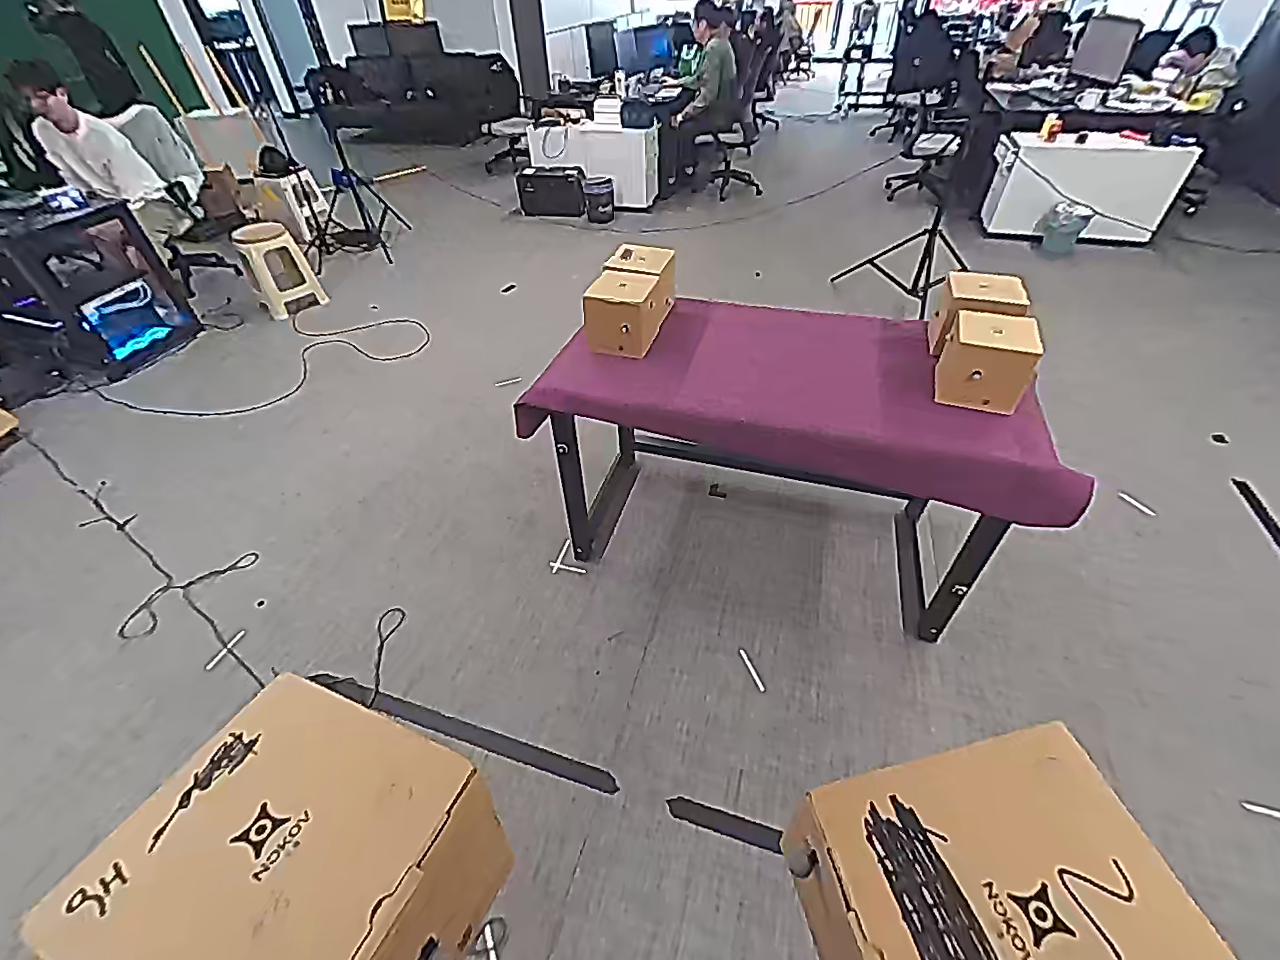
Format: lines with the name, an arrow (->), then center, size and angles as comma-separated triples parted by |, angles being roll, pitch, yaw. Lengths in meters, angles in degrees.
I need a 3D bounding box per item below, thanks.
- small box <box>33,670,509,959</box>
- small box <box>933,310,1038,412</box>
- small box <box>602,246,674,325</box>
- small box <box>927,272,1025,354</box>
small box -> -0.208, 0.269, 0.364 | 0.179, 0.176, 0.168 | 16, 41, 17
small box -> 0.818, -0.284, 1.294 | 0.168, 0.176, 0.179 | 14, 45, 18
small box -> -0.003, -0.590, 1.647 | 0.179, 0.176, 0.168 | 13, 47, 14
small box -> 0.884, -0.436, 1.444 | 0.179, 0.176, 0.168 | 12, 46, 14
